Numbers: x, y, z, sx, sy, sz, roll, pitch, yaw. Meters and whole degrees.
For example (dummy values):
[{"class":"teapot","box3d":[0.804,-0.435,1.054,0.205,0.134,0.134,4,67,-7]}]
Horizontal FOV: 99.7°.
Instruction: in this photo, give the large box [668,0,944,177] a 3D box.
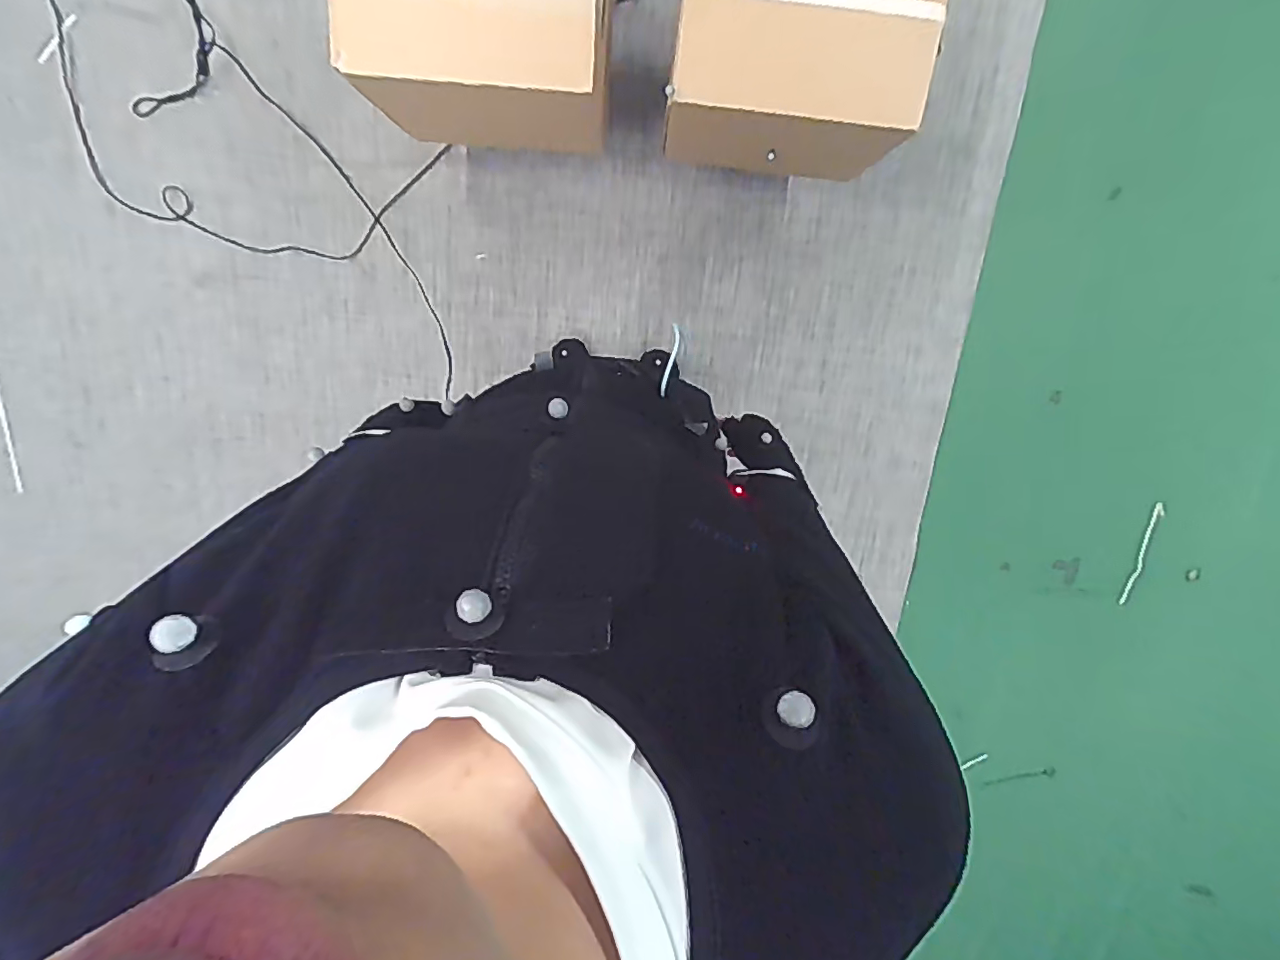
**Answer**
[{"class":"large box","box3d":[0.273,-0.775,0.981,0.408,0.320,0.320,7,105,-1]}]
